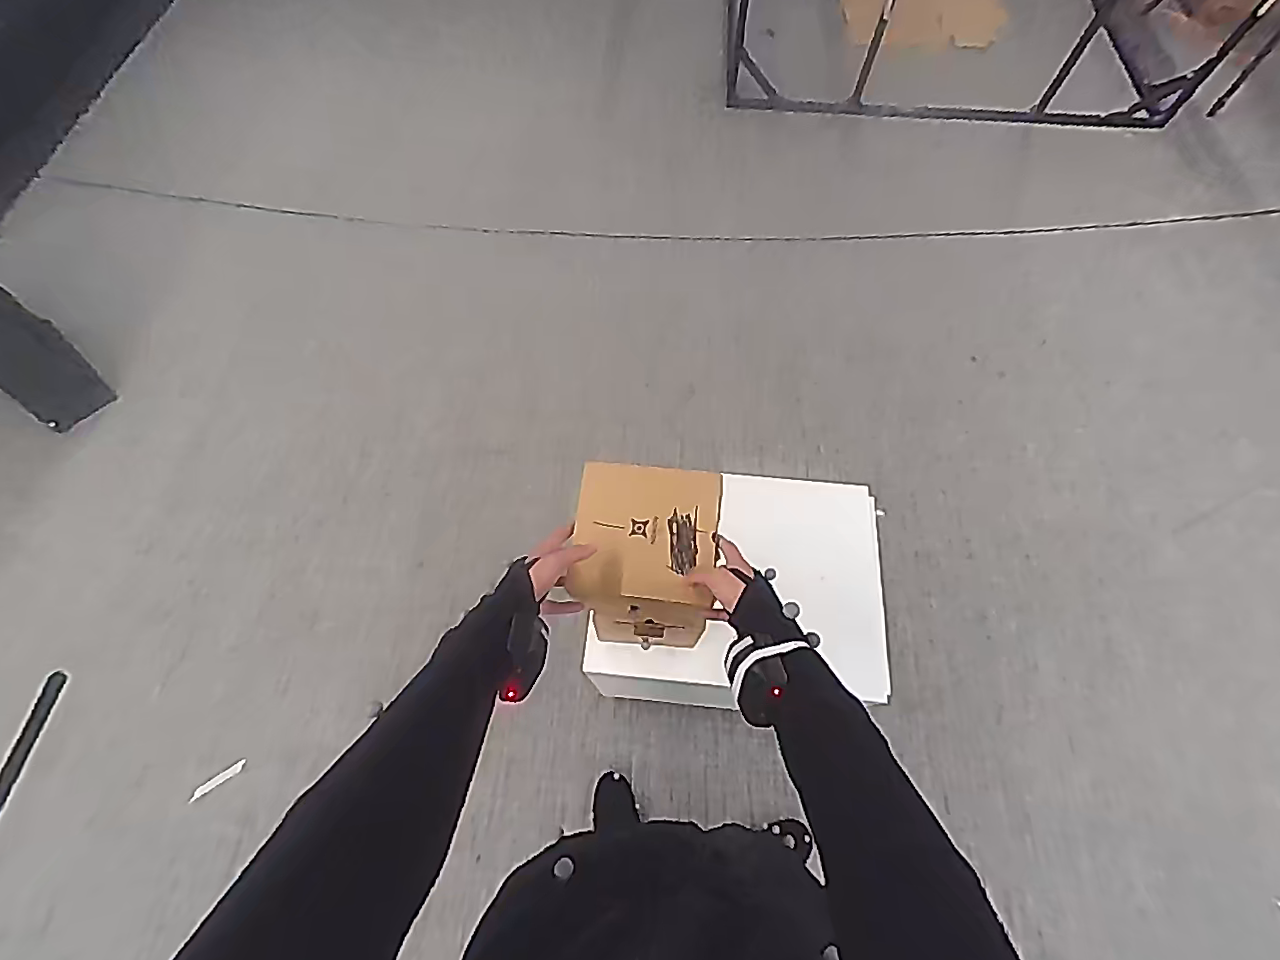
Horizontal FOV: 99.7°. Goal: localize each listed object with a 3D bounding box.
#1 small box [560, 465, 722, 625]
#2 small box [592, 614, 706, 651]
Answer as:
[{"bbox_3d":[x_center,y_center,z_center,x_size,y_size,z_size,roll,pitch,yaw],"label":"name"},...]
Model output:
[{"bbox_3d":[0.008,0.093,0.712,0.179,0.176,0.168,5,69,6],"label":"small box"},{"bbox_3d":[0.018,0.168,0.874,0.168,0.176,0.179,4,65,2],"label":"small box"}]
